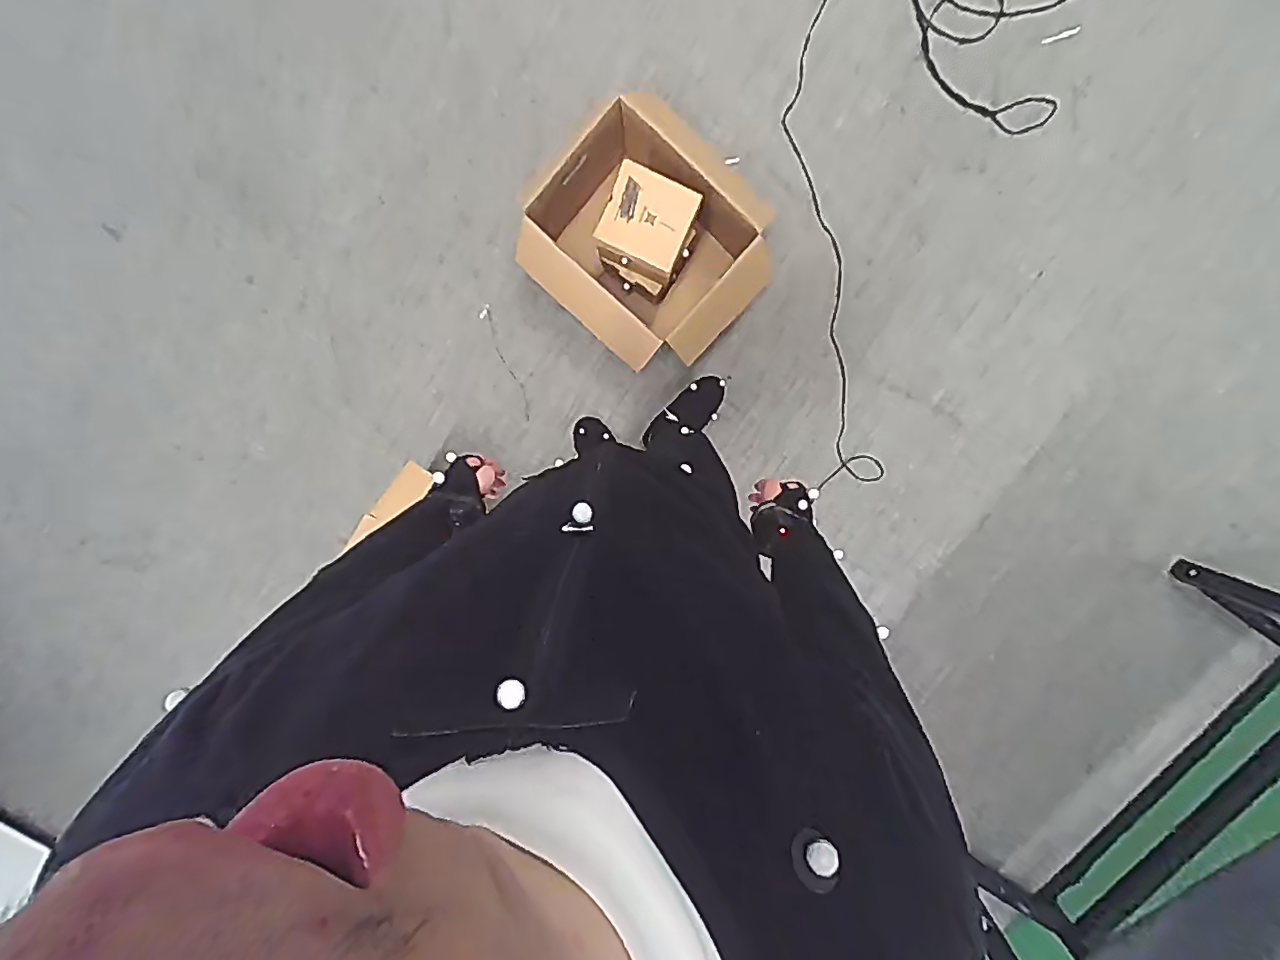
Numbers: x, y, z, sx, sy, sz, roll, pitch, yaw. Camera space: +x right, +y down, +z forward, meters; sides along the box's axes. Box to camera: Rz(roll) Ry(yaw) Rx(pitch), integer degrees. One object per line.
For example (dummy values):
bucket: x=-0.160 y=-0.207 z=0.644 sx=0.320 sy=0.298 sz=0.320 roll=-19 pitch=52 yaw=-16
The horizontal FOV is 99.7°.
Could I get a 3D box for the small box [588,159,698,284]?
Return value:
small box: x=0.008 y=-0.546 z=1.173 sx=0.179 sy=0.176 sz=0.168 roll=28 pitch=101 yaw=-3
